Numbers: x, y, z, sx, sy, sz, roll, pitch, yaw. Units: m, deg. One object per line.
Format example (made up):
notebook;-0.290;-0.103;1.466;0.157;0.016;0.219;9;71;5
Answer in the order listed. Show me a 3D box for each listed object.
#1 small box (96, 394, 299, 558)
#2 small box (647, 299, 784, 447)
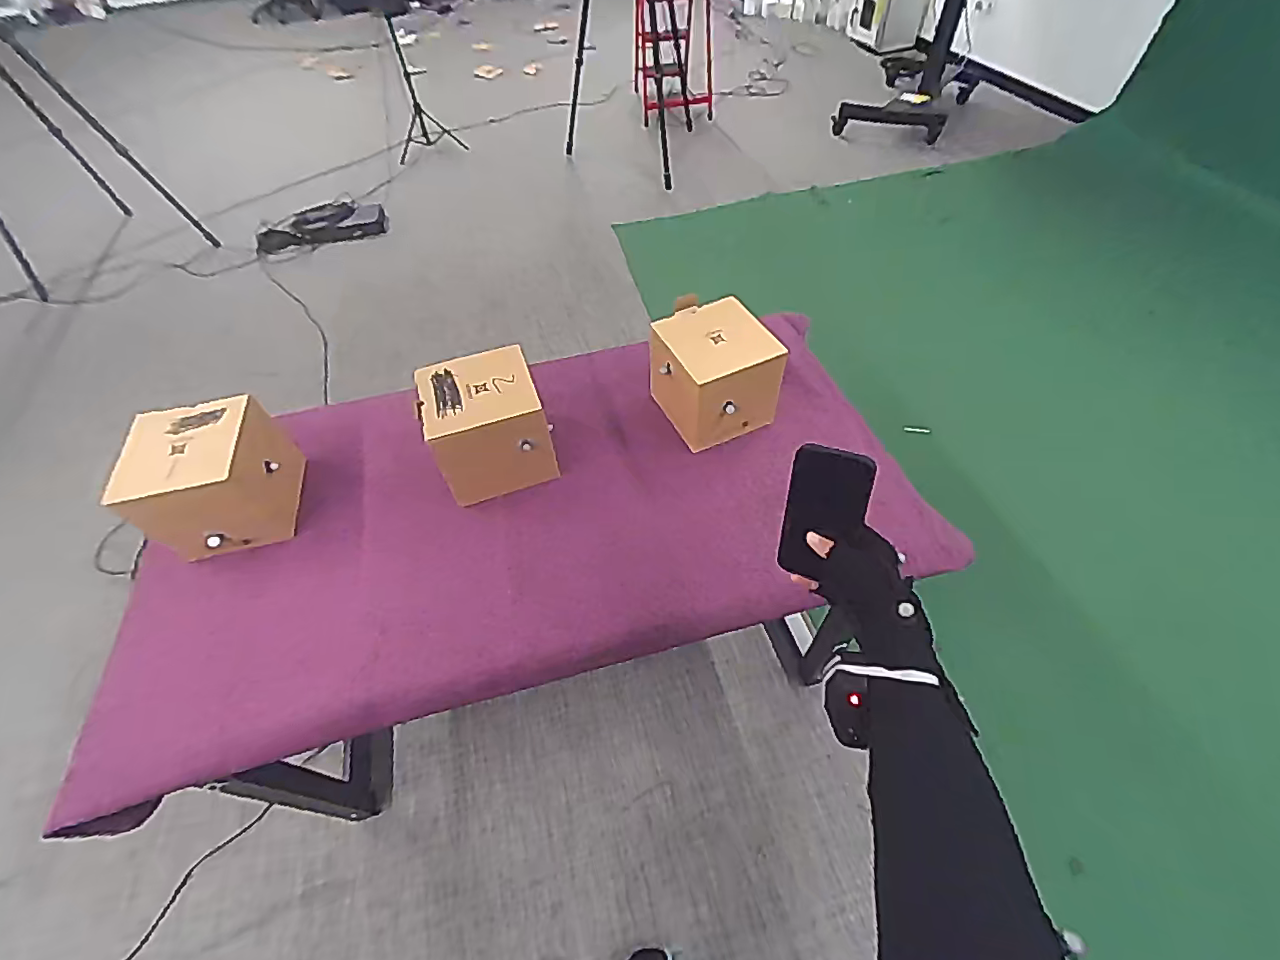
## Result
small box;-0.664;-0.004;0.842;0.168;0.176;0.179;-12;55;-7
small box;0.125;-0.178;0.944;0.168;0.176;0.179;-22;54;-13
